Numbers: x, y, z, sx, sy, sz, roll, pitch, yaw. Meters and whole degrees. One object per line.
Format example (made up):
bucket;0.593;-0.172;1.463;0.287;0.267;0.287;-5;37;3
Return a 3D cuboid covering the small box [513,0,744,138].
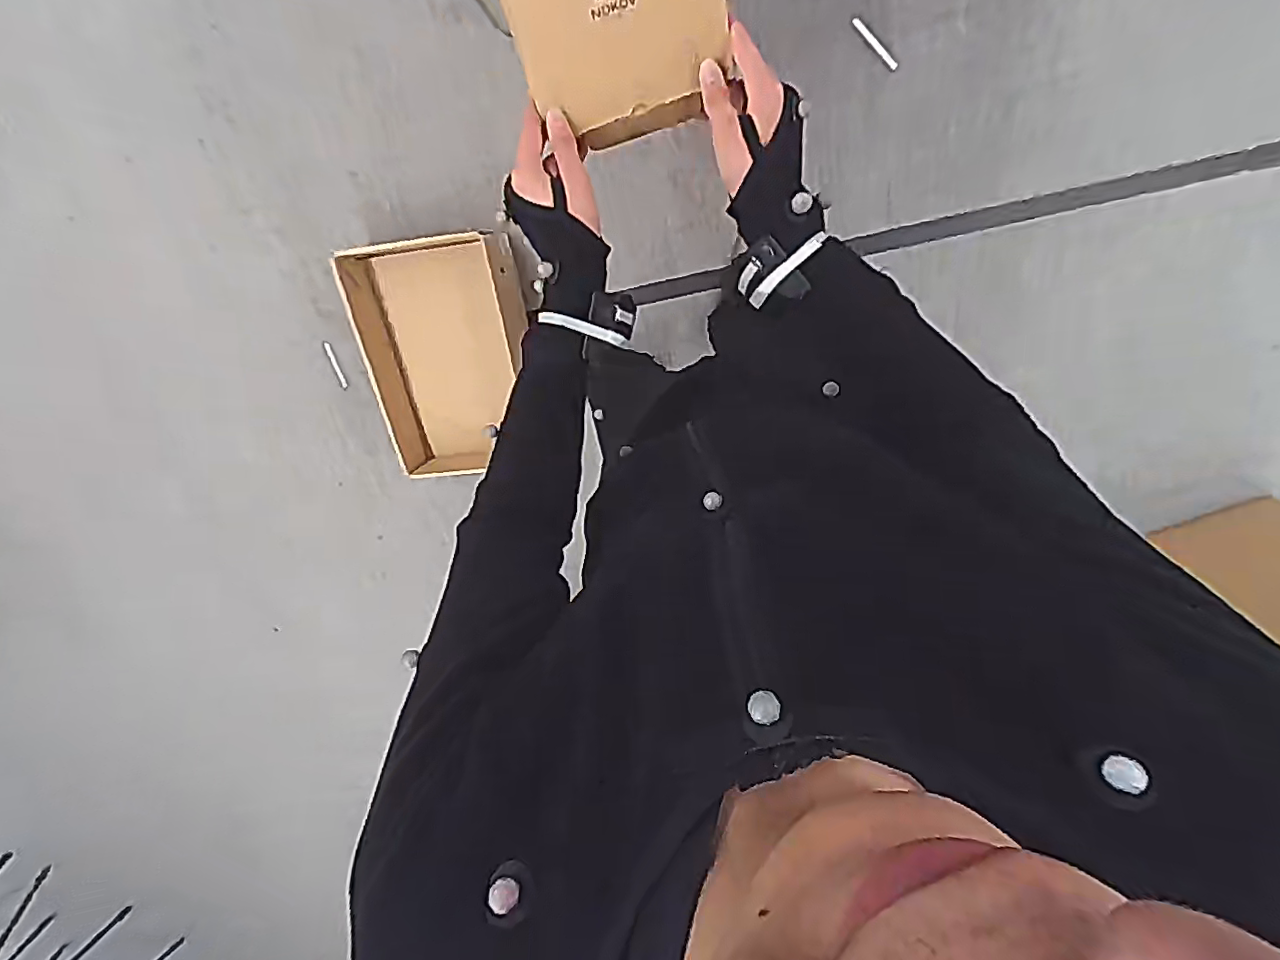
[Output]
small box;-0.015;-0.420;0.457;0.168;0.176;0.179;-13;126;9
